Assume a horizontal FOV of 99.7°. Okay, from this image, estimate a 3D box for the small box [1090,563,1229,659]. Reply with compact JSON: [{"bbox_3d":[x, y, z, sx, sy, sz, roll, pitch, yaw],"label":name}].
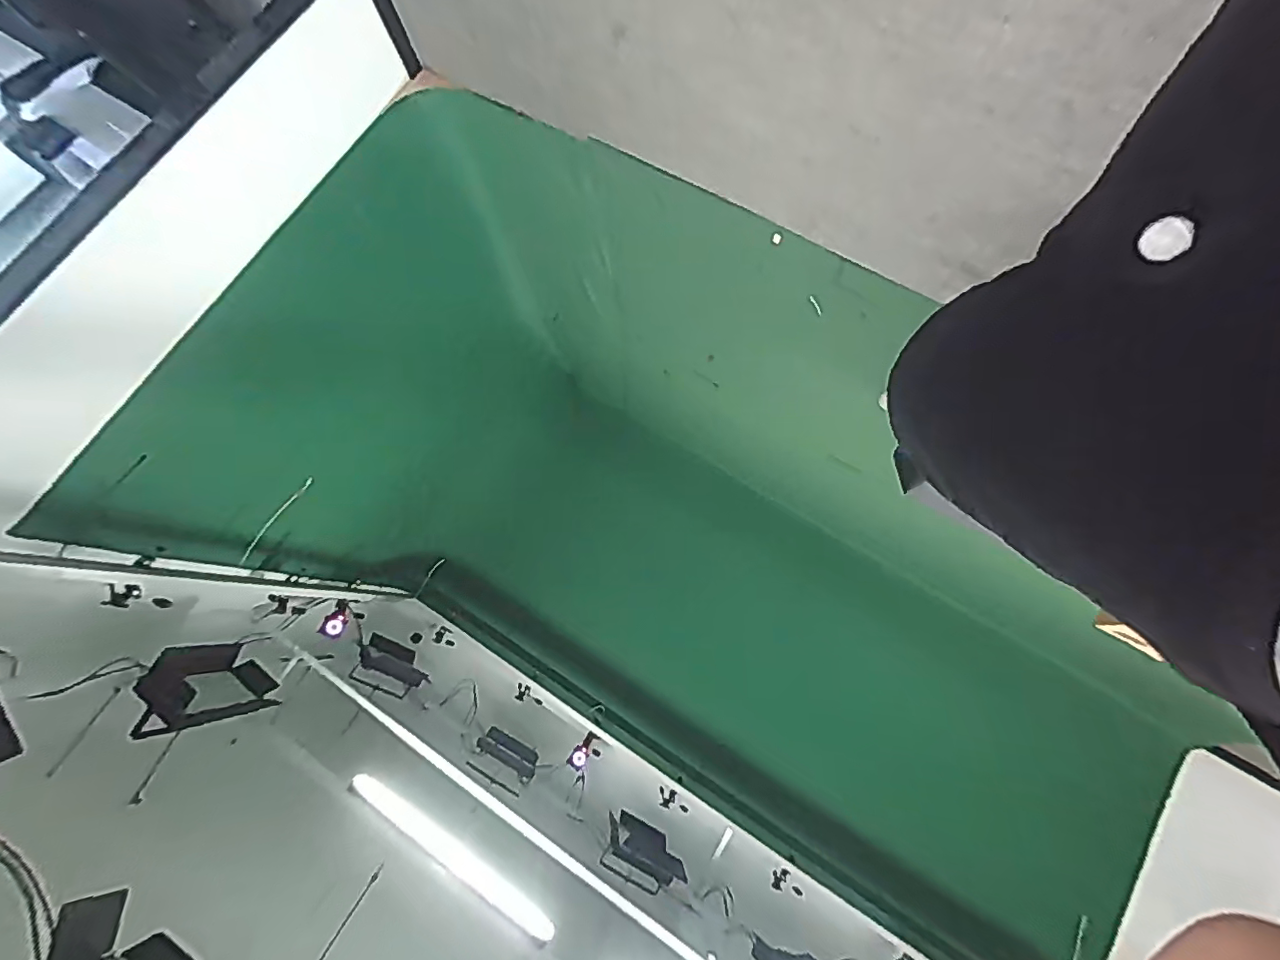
[{"bbox_3d":[1.307,0.328,1.364,0.168,0.176,0.179,30,168,14],"label":"small box"}]
